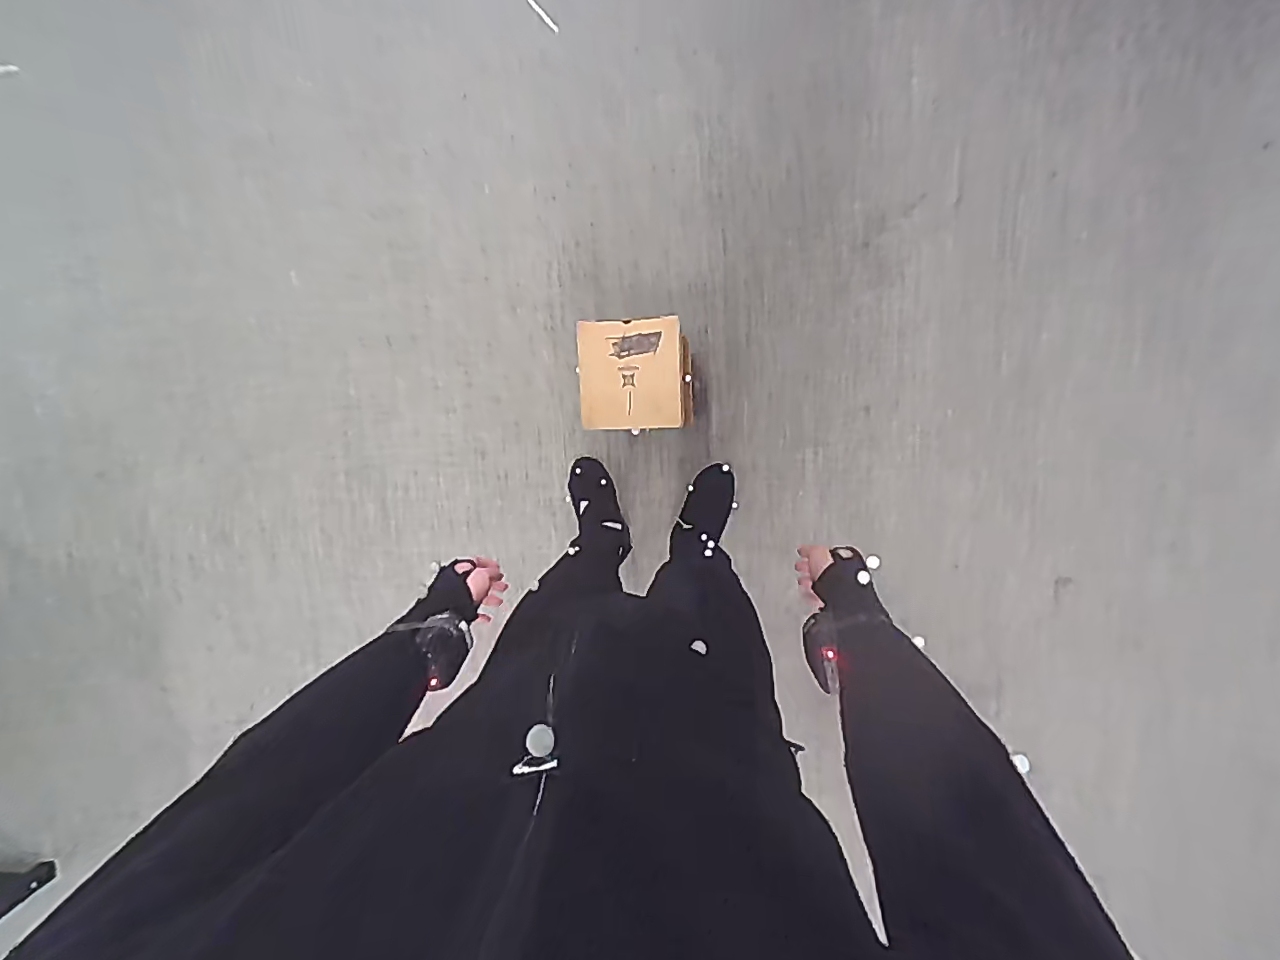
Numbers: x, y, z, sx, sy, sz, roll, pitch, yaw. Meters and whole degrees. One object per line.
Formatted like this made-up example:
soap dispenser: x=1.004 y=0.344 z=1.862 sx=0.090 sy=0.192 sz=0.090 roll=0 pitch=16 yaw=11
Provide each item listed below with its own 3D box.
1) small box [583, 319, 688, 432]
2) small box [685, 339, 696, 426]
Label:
small box: x=-0.002 y=-0.177 z=0.947 sx=0.168 sy=0.176 sz=0.179 roll=-1 pitch=99 yaw=7
small box: x=0.025 y=-0.191 z=1.108 sx=0.179 sy=0.176 sz=0.168 roll=-2 pitch=97 yaw=5
